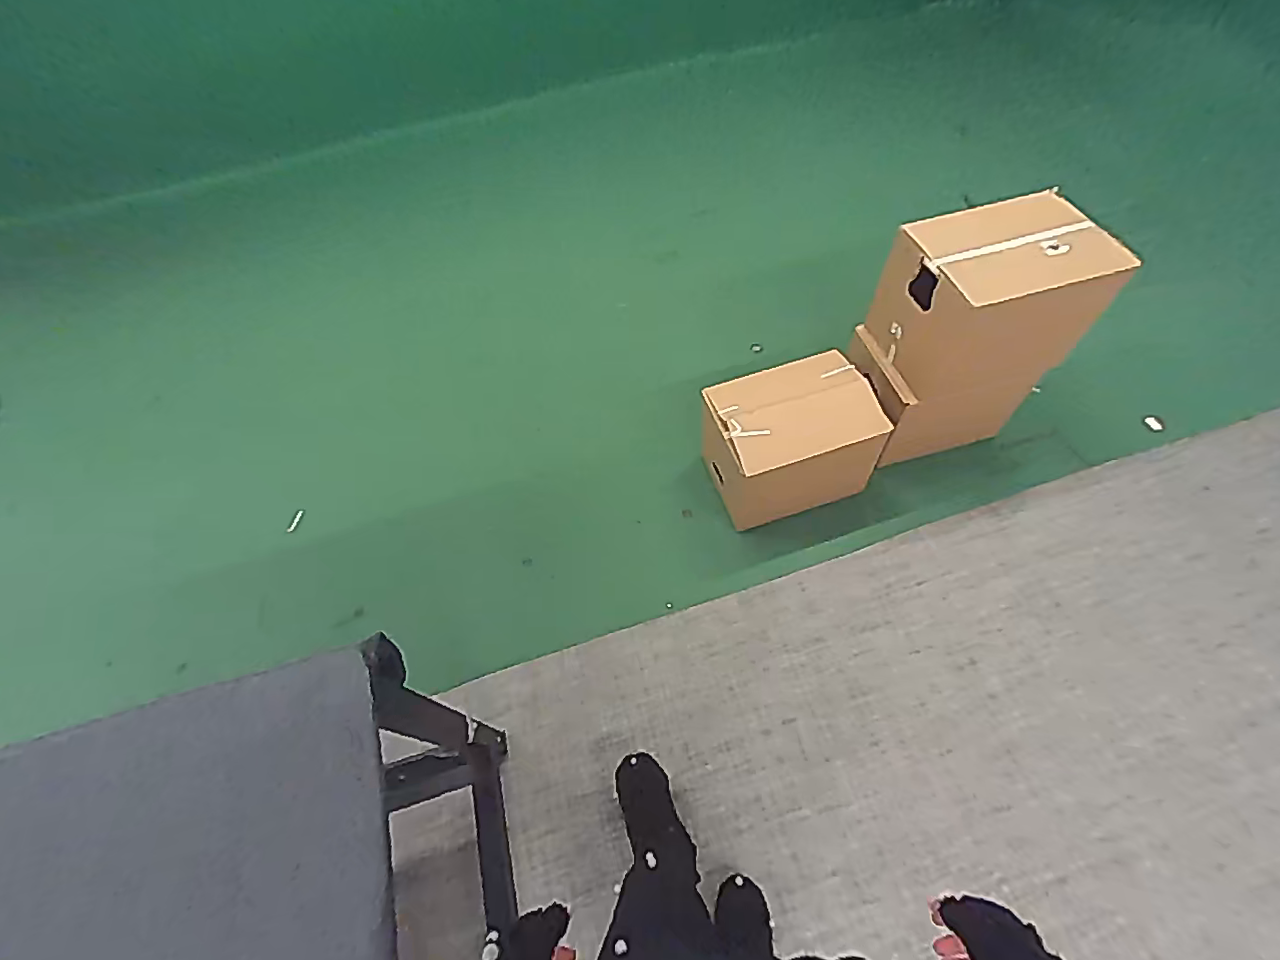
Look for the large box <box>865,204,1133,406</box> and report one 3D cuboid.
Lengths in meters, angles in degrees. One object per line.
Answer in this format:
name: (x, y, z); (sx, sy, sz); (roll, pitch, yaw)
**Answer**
large box: (0.864, -0.436, 1.372); (0.408, 0.320, 0.320); (-15, 58, -5)
